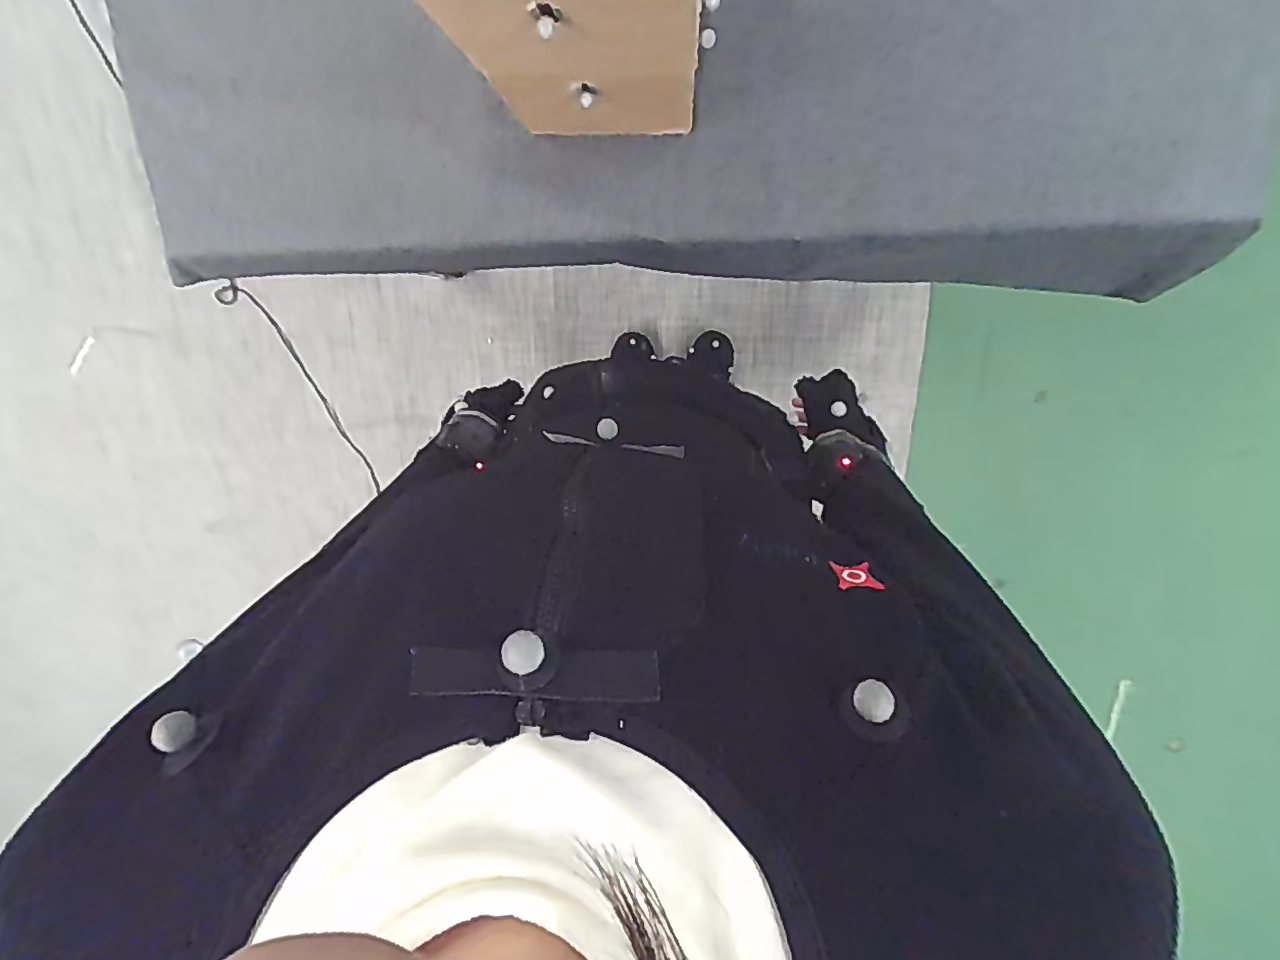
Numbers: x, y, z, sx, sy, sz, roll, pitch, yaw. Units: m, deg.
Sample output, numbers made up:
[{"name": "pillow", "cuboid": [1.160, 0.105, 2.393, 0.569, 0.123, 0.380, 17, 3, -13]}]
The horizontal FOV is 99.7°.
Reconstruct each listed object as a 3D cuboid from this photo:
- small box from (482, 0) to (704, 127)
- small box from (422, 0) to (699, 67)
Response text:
[{"name": "small box", "cuboid": [-0.032, -0.432, 0.479, 0.179, 0.176, 0.168, 2, 108, 5]}, {"name": "small box", "cuboid": [-0.048, -0.378, 0.324, 0.179, 0.176, 0.168, 3, 108, 7]}]
